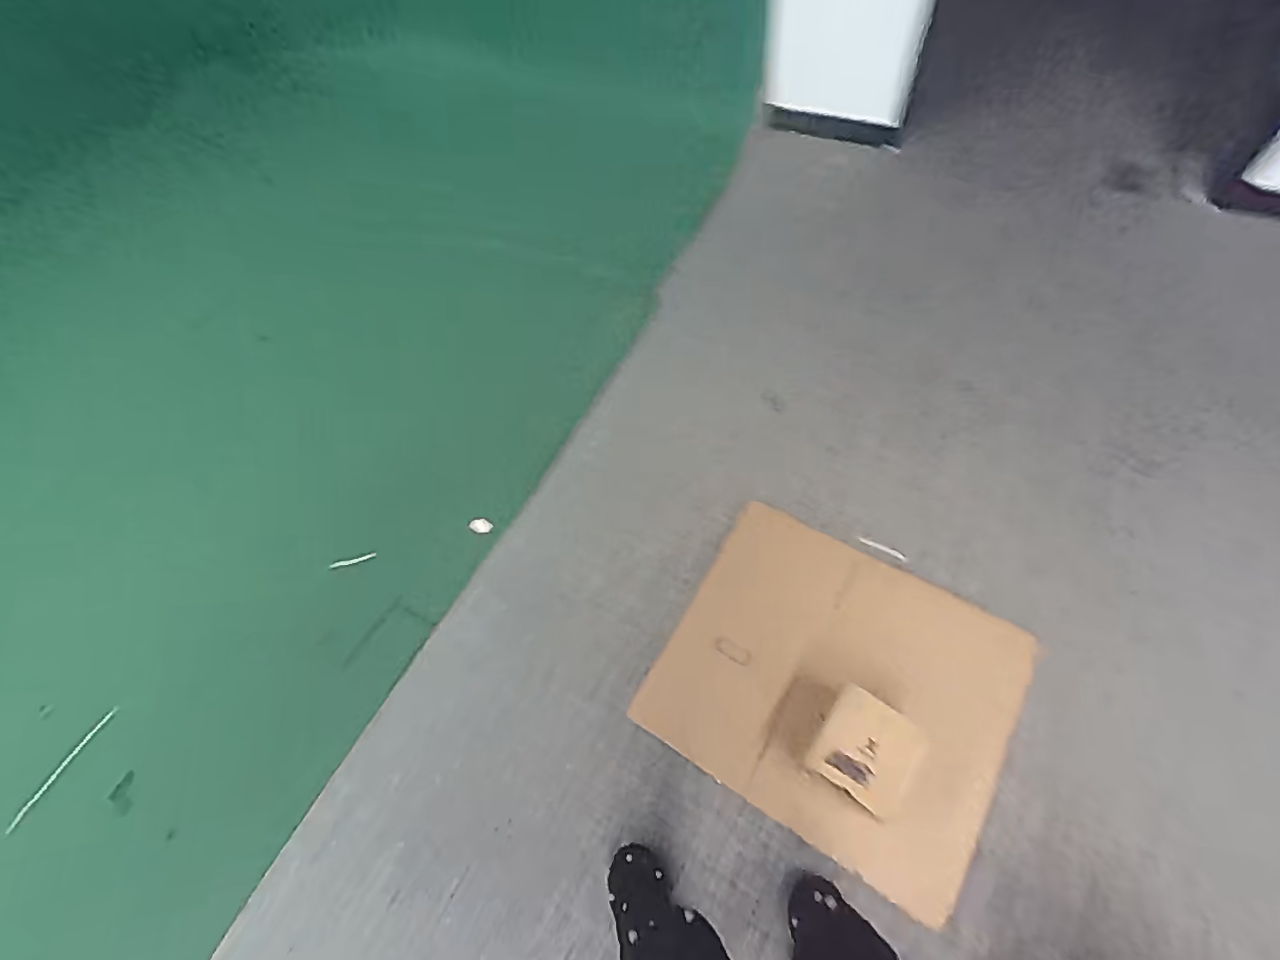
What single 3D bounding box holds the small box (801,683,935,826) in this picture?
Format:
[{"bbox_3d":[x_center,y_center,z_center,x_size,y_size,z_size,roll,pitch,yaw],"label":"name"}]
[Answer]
[{"bbox_3d":[0.428,0.527,1.044,0.168,0.176,0.179,32,71,23],"label":"small box"}]
